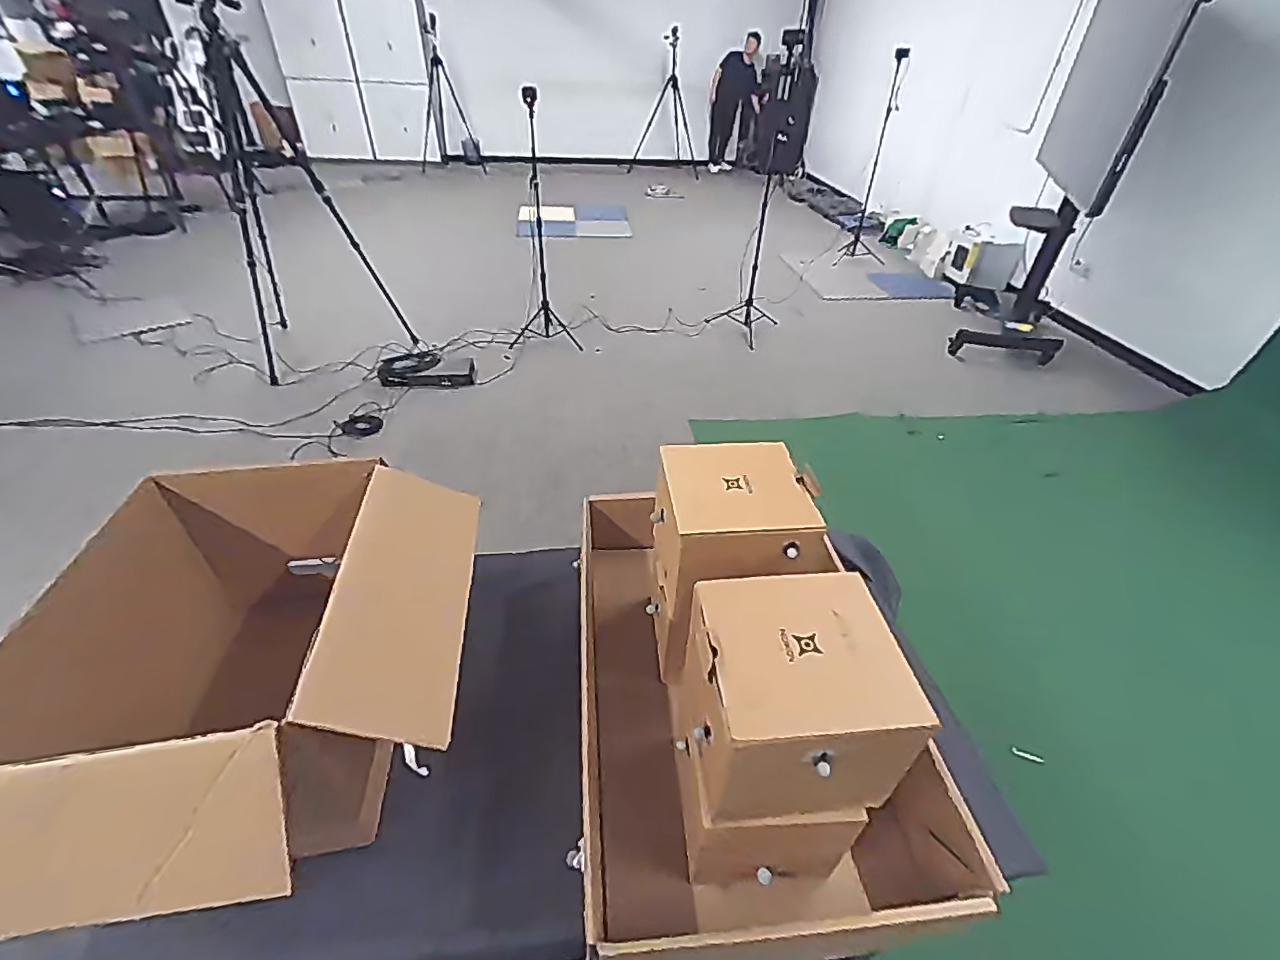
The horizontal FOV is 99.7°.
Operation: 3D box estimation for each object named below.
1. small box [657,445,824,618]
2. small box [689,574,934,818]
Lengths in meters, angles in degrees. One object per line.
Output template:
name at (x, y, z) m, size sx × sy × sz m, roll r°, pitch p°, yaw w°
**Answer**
small box at (0.117, 0.070, 0.723) m, size 0.179 × 0.176 × 0.168 m, roll -2°, pitch 41°, yaw -6°
small box at (0.147, 0.216, 0.543) m, size 0.179 × 0.176 × 0.168 m, roll -2°, pitch 39°, yaw -5°
